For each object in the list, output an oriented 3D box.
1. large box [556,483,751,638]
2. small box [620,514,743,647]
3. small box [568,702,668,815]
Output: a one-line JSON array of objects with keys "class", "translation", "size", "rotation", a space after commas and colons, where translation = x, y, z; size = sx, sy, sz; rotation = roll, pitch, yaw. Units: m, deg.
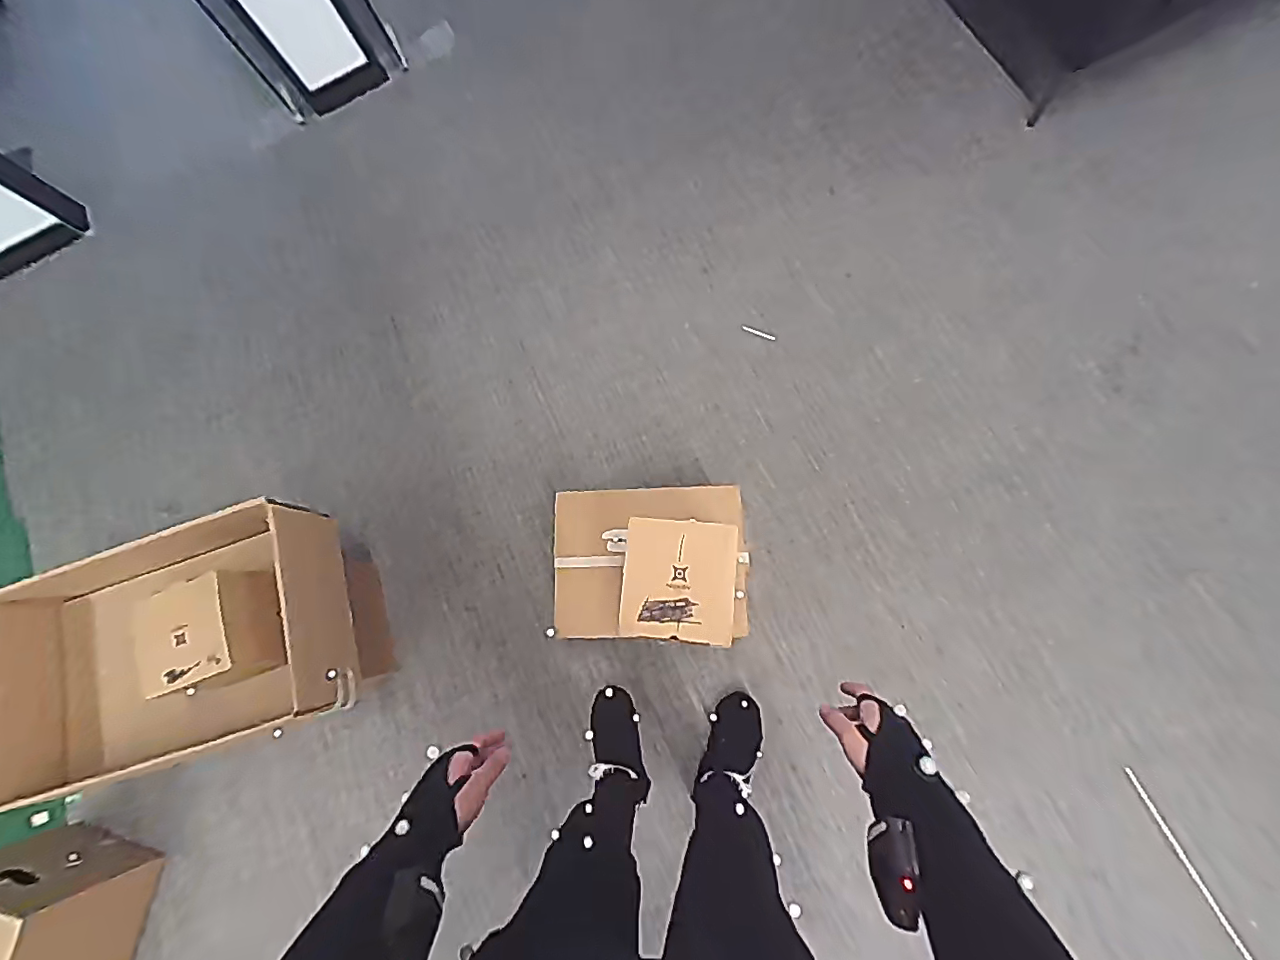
[{"class": "large box", "translation": [0.041, 0.196, 1.272], "size": [0.408, 0.320, 0.320], "rotation": [-3, 77, 8]}, {"class": "small box", "translation": [0.072, 0.156, 0.855], "size": [0.168, 0.176, 0.179], "rotation": [4, 79, 9]}, {"class": "small box", "translation": [-0.042, 0.648, 1.285], "size": [0.168, 0.176, 0.179], "rotation": [19, 78, 18]}]
